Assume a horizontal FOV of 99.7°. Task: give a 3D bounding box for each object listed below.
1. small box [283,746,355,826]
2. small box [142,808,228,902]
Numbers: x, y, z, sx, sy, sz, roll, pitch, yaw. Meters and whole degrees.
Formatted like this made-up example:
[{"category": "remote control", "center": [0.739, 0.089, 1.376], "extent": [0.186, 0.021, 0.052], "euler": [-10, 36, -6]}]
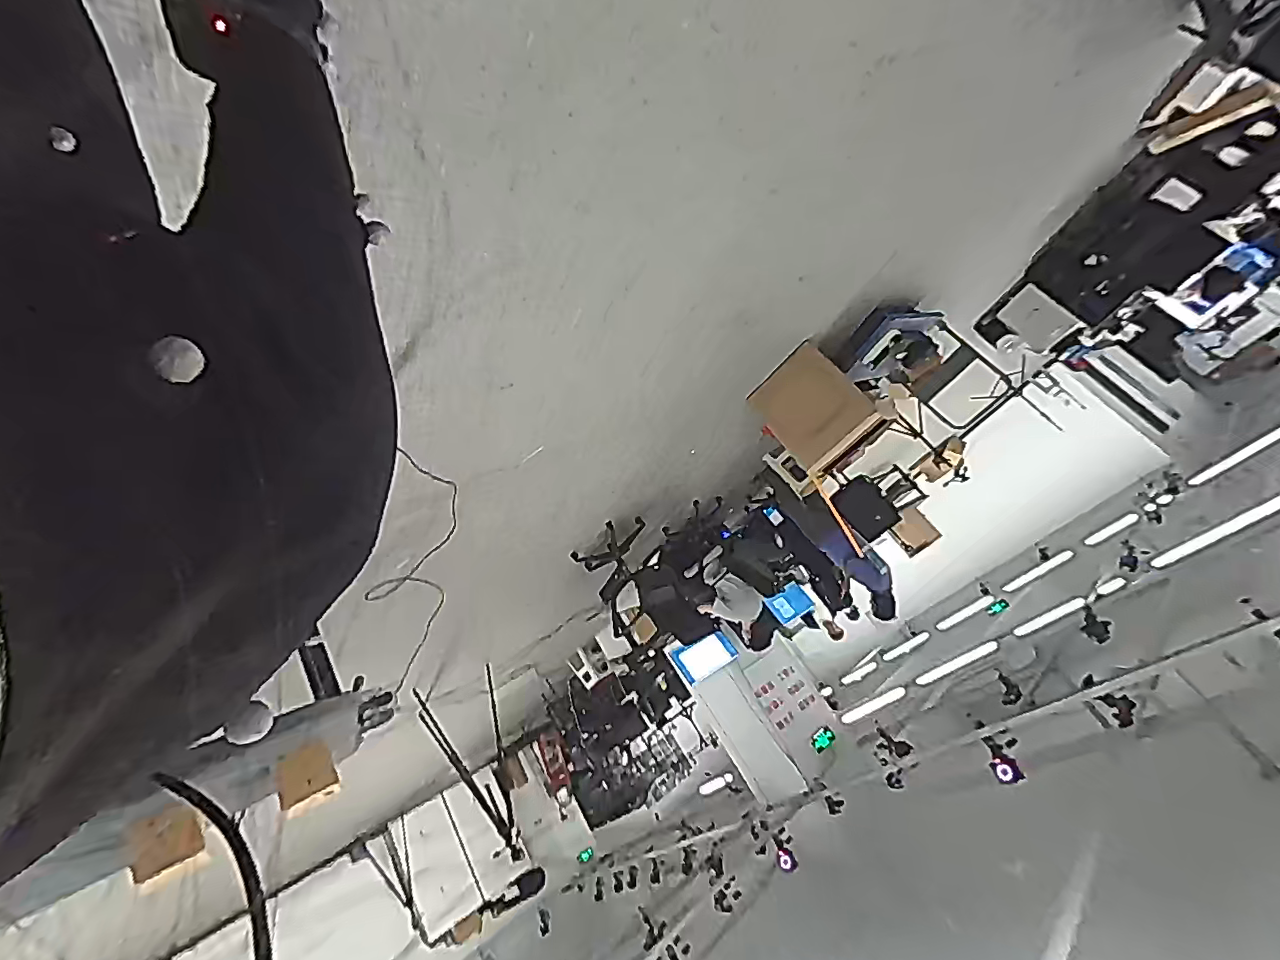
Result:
[{"category": "small box", "center": [-1.131, 1.076, 1.908], "extent": [0.179, 0.176, 0.168], "euler": [-18, 151, -35]}, {"category": "small box", "center": [-1.407, 1.153, 1.673], "extent": [0.168, 0.176, 0.179], "euler": [-16, 149, -39]}]
